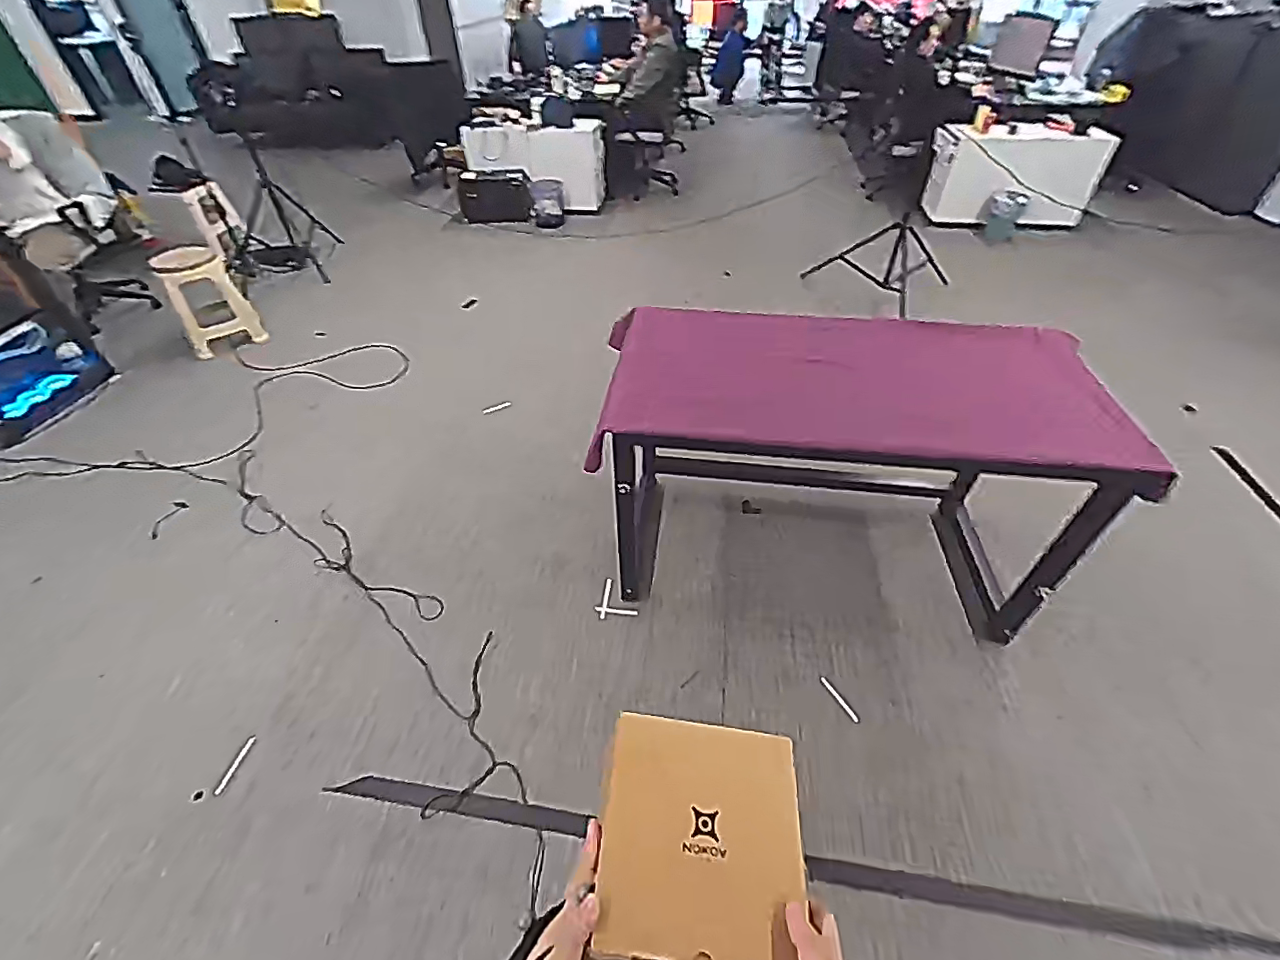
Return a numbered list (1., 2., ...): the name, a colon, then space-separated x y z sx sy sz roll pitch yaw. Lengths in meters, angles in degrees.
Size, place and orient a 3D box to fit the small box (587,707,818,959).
1. small box: 0.046 0.342 0.502 0.168 0.176 0.179 9 44 -1
